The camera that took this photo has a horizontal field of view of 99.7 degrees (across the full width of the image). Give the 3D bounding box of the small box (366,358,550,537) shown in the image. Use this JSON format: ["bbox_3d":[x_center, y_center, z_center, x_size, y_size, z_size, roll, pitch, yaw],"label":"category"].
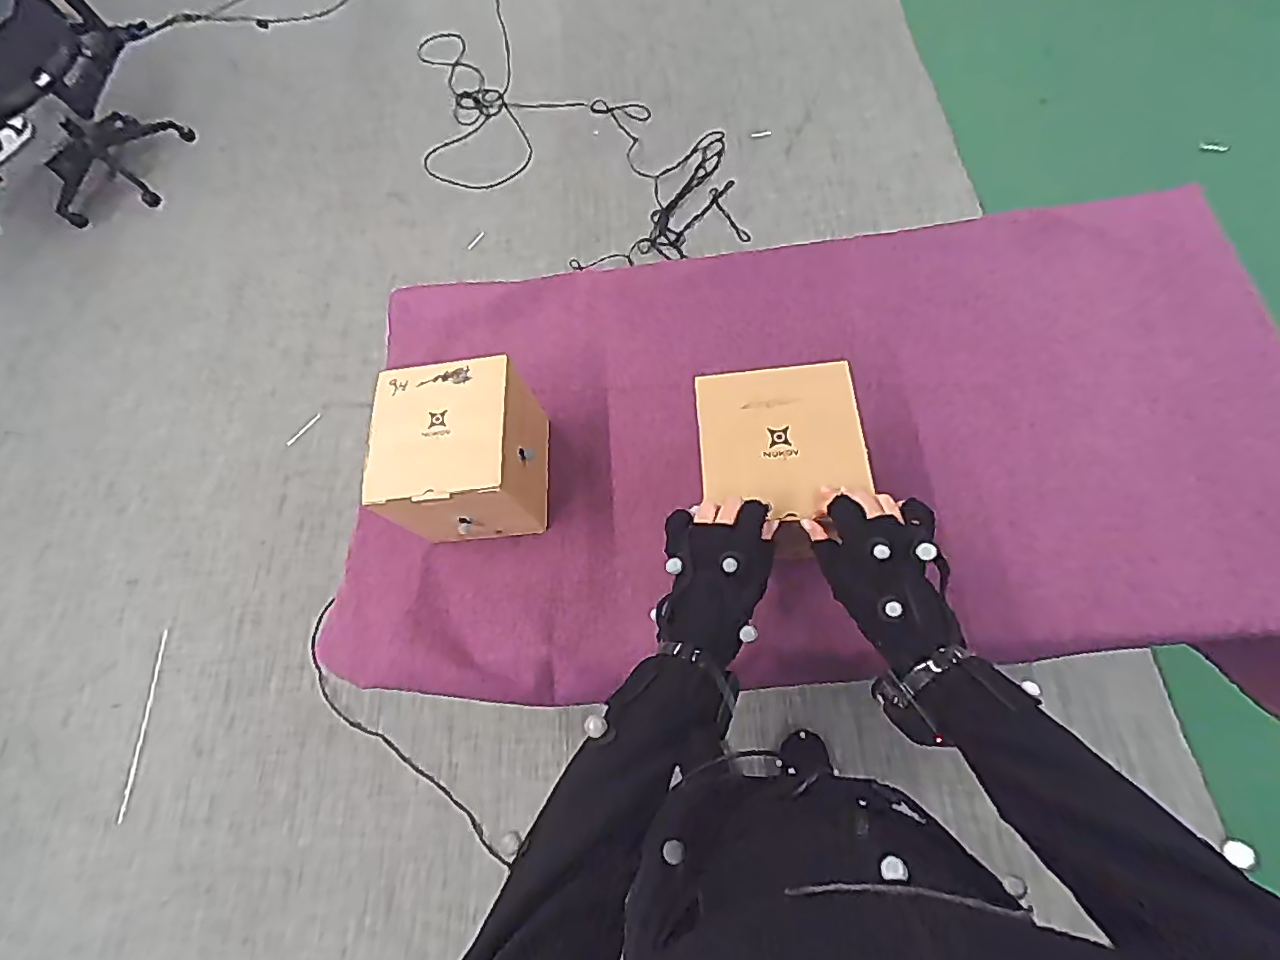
[{"bbox_3d":[-0.219,-0.029,0.697,0.168,0.176,0.179,-6,68,6],"label":"small box"}]

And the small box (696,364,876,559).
[{"bbox_3d":[0.157,-0.009,0.629,0.168,0.176,0.179,-5,67,7],"label":"small box"}]
